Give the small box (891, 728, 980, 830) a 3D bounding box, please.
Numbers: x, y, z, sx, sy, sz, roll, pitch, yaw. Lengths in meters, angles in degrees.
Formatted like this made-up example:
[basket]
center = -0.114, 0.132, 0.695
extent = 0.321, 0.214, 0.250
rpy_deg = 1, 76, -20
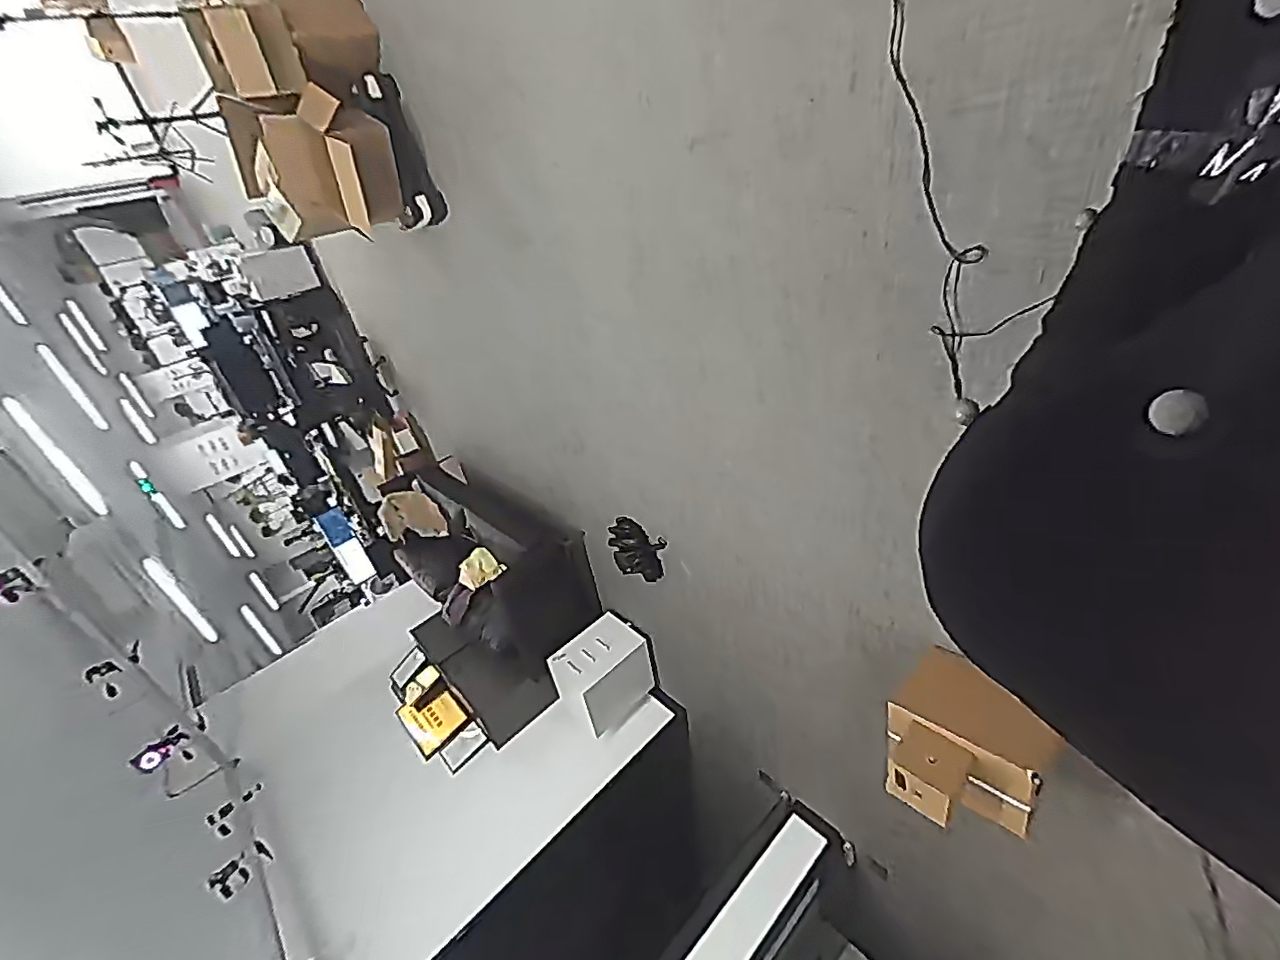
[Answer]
[small box]
center = 0.879, 0.879, 1.614
extent = 0.179, 0.176, 0.168
rpy_deg = 21, 133, 44
